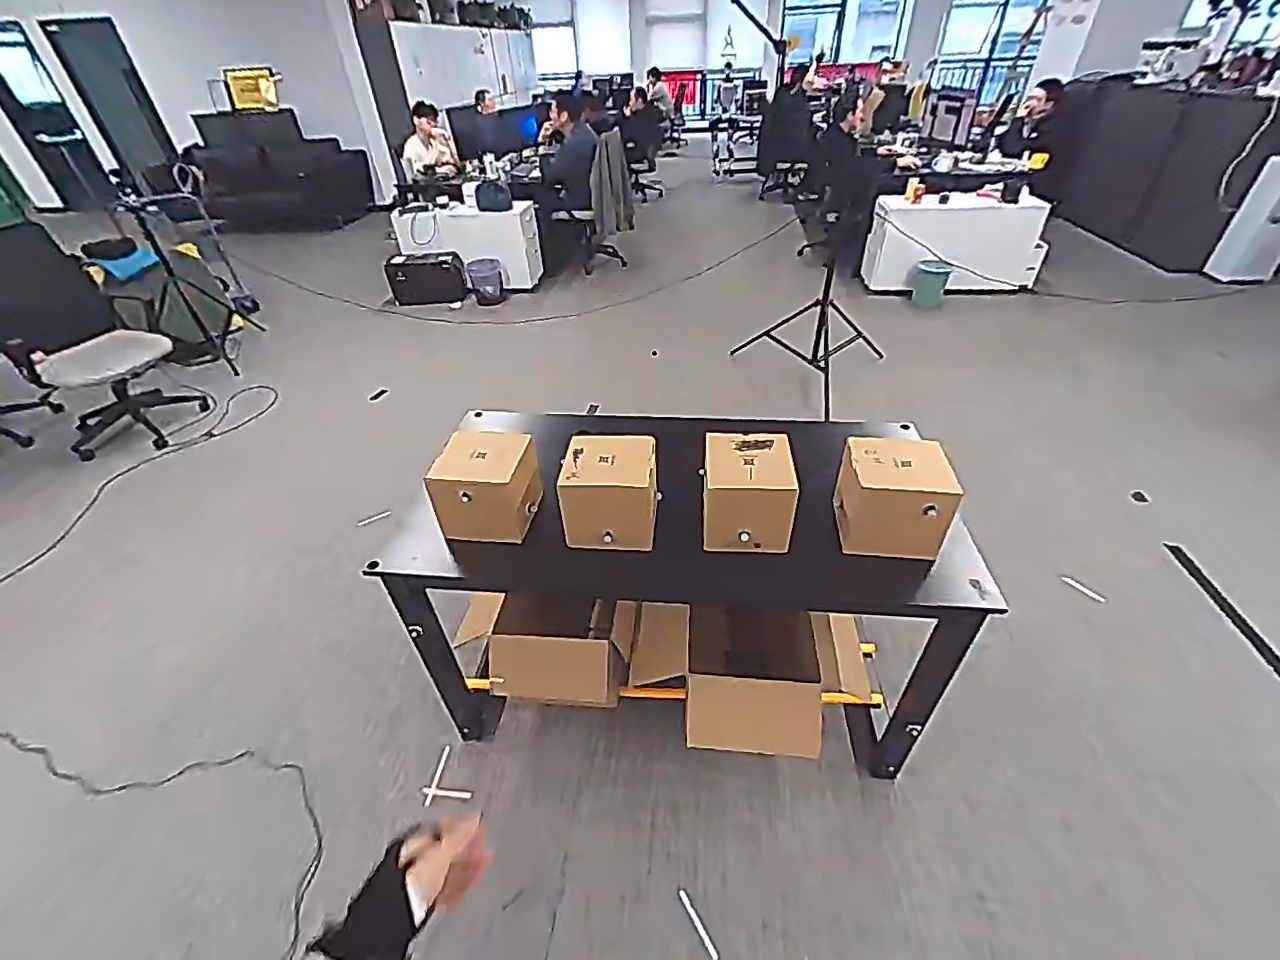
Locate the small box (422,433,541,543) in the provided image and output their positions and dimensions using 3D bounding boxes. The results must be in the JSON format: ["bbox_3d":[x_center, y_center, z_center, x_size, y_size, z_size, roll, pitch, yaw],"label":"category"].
[{"bbox_3d":[-0.321,0.017,1.136,0.179,0.176,0.168,3,40,6],"label":"small box"}]

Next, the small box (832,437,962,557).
[{"bbox_3d":[0.490,0.034,1.058,0.179,0.176,0.168,3,37,8],"label":"small box"}]

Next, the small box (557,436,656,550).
[{"bbox_3d":[-0.060,0.028,1.105,0.179,0.176,0.168,2,38,5],"label":"small box"}]

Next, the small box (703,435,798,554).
[{"bbox_3d":[0.212,0.026,1.089,0.168,0.176,0.179,1,39,5],"label":"small box"}]
